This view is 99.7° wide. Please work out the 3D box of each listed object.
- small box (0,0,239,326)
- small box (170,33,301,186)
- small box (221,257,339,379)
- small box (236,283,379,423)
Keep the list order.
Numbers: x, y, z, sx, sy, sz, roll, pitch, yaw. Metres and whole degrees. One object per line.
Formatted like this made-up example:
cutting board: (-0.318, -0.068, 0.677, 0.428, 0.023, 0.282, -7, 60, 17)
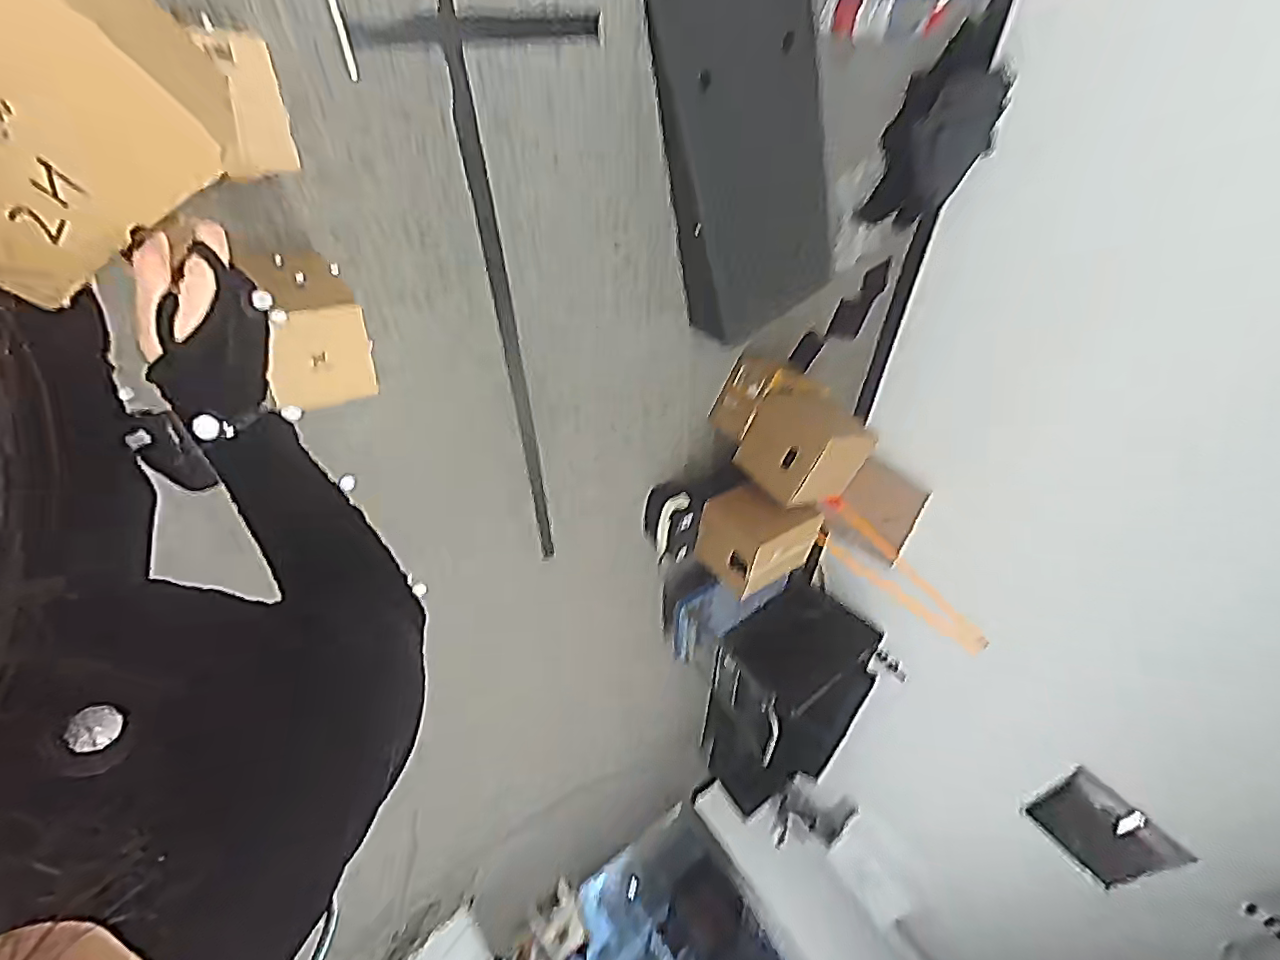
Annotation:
small box: (-0.383, -0.235, 0.315, 0.168, 0.176, 0.179, -35, 149, 5)
small box: (-0.660, -0.576, 0.845, 0.168, 0.176, 0.179, -22, 138, -30)
small box: (-0.688, -0.322, 1.056, 0.179, 0.176, 0.168, -22, 137, -31)
small box: (-0.588, -0.232, 0.964, 0.168, 0.176, 0.179, -21, 136, -32)
